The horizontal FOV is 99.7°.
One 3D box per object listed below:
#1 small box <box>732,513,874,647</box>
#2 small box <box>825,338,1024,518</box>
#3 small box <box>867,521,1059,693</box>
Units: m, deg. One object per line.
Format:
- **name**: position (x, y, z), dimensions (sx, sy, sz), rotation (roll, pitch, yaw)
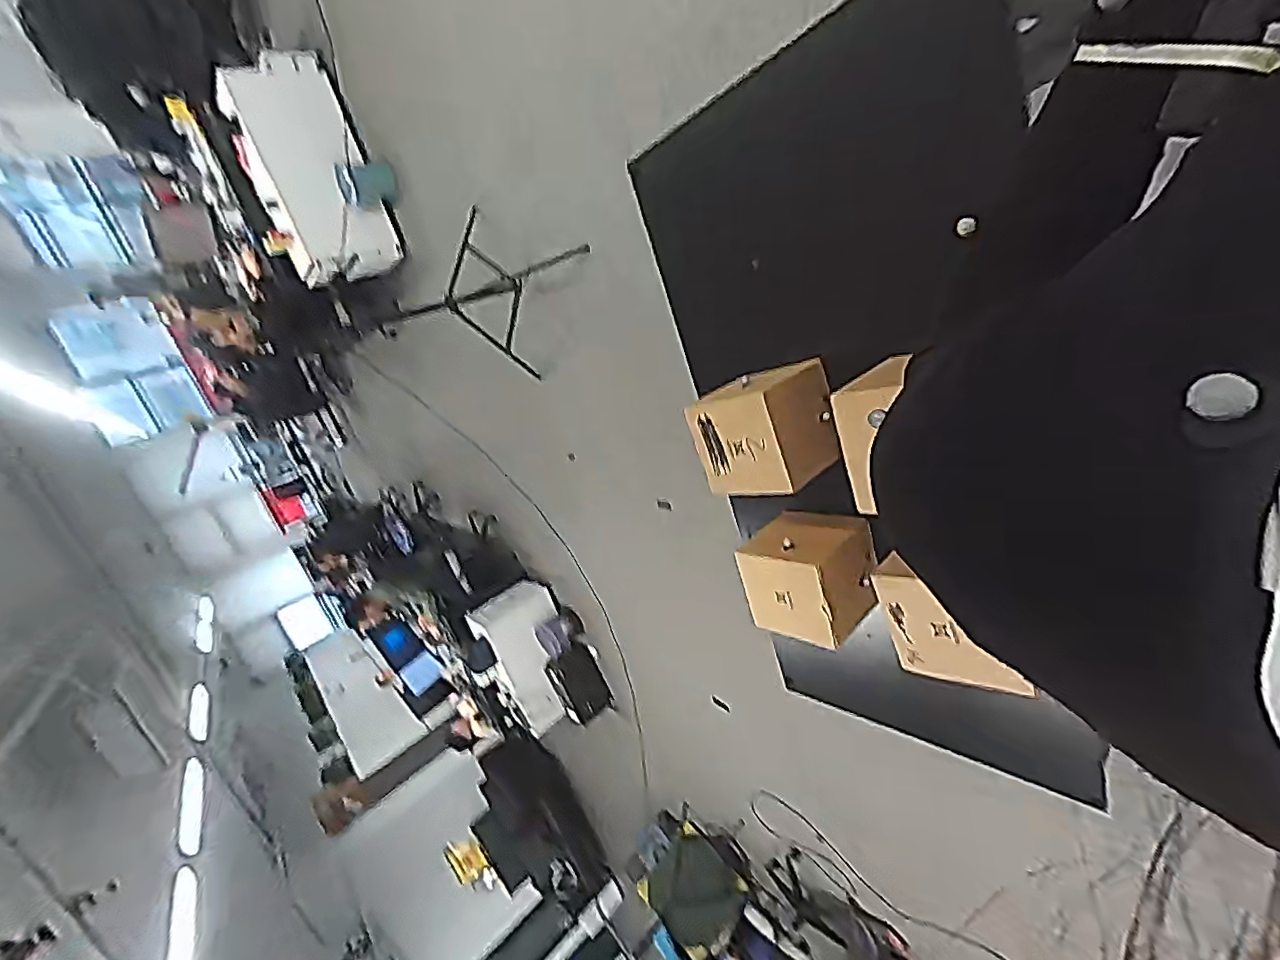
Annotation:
- **small box**: position (0.303, 0.170, 0.988), dimensions (0.179, 0.176, 0.168), rotation (3, 117, 51)
- **small box**: position (0.377, -0.068, 0.711), dimensions (0.168, 0.176, 0.179), rotation (0, 114, 52)
- **small box**: position (0.464, 0.167, 0.770), dimensions (0.179, 0.176, 0.168), rotation (-8, 108, 54)
